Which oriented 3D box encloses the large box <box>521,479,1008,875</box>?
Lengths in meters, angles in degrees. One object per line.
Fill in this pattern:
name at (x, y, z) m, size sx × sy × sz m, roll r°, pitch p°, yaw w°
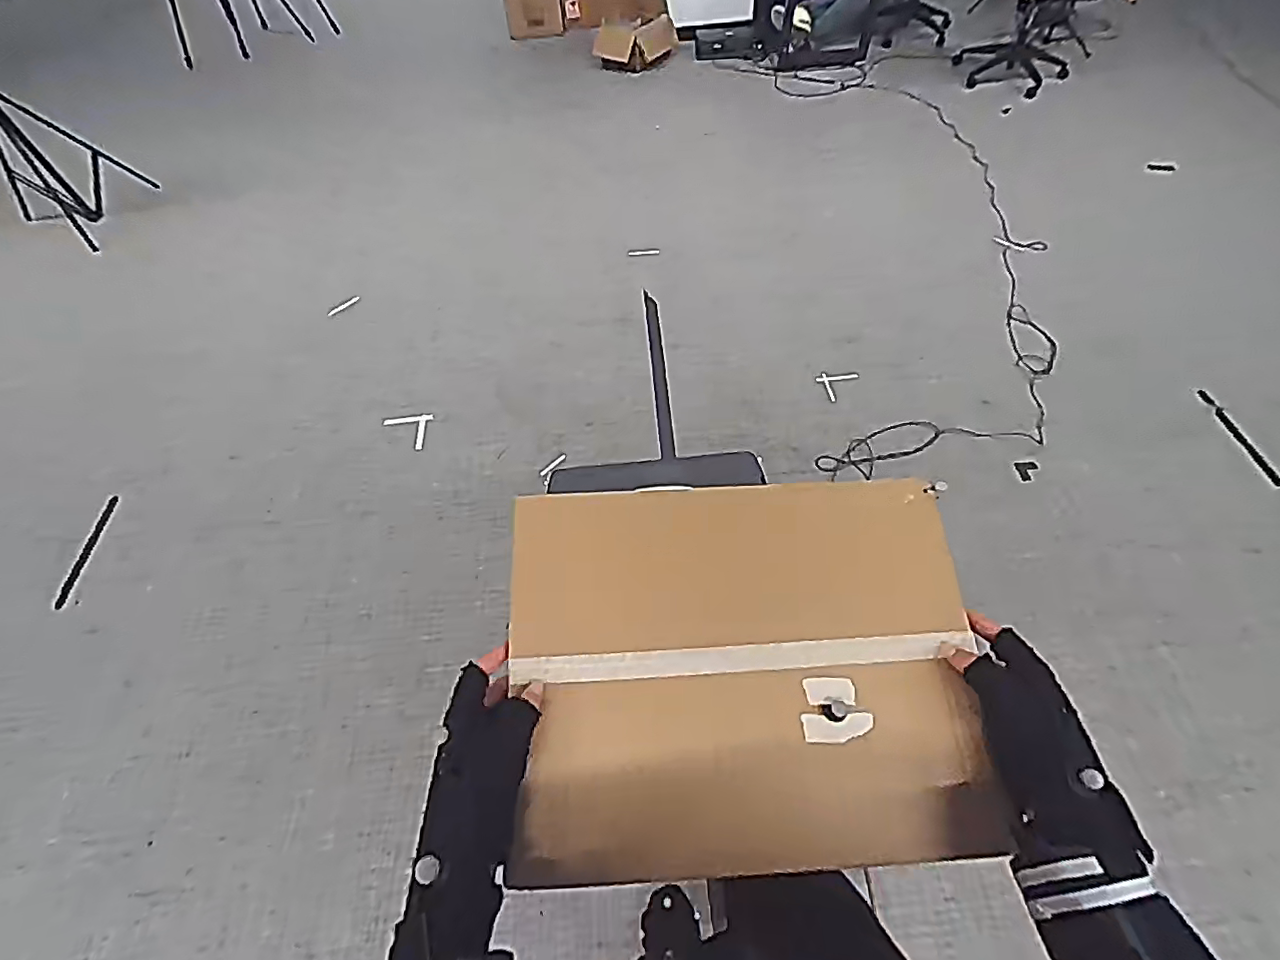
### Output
large box at (0.088, 0.207, 0.621) m, size 0.408 × 0.320 × 0.320 m, roll -3°, pitch 69°, yaw -3°
